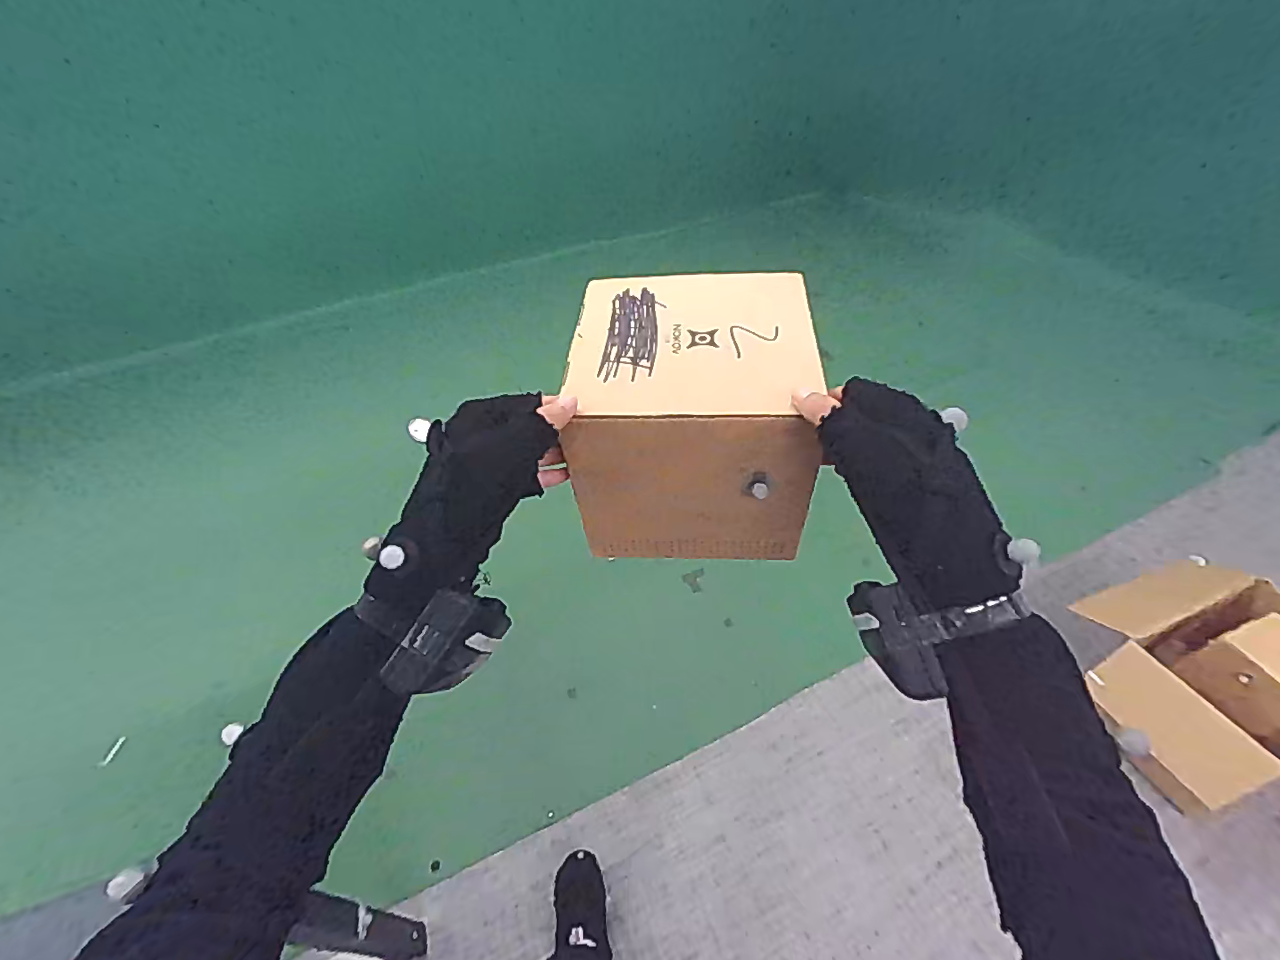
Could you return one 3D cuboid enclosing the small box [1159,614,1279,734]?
[{"bbox_3d":[1.325,0.432,1.185,0.168,0.176,0.179,-16,47,-13],"label":"small box"}]
